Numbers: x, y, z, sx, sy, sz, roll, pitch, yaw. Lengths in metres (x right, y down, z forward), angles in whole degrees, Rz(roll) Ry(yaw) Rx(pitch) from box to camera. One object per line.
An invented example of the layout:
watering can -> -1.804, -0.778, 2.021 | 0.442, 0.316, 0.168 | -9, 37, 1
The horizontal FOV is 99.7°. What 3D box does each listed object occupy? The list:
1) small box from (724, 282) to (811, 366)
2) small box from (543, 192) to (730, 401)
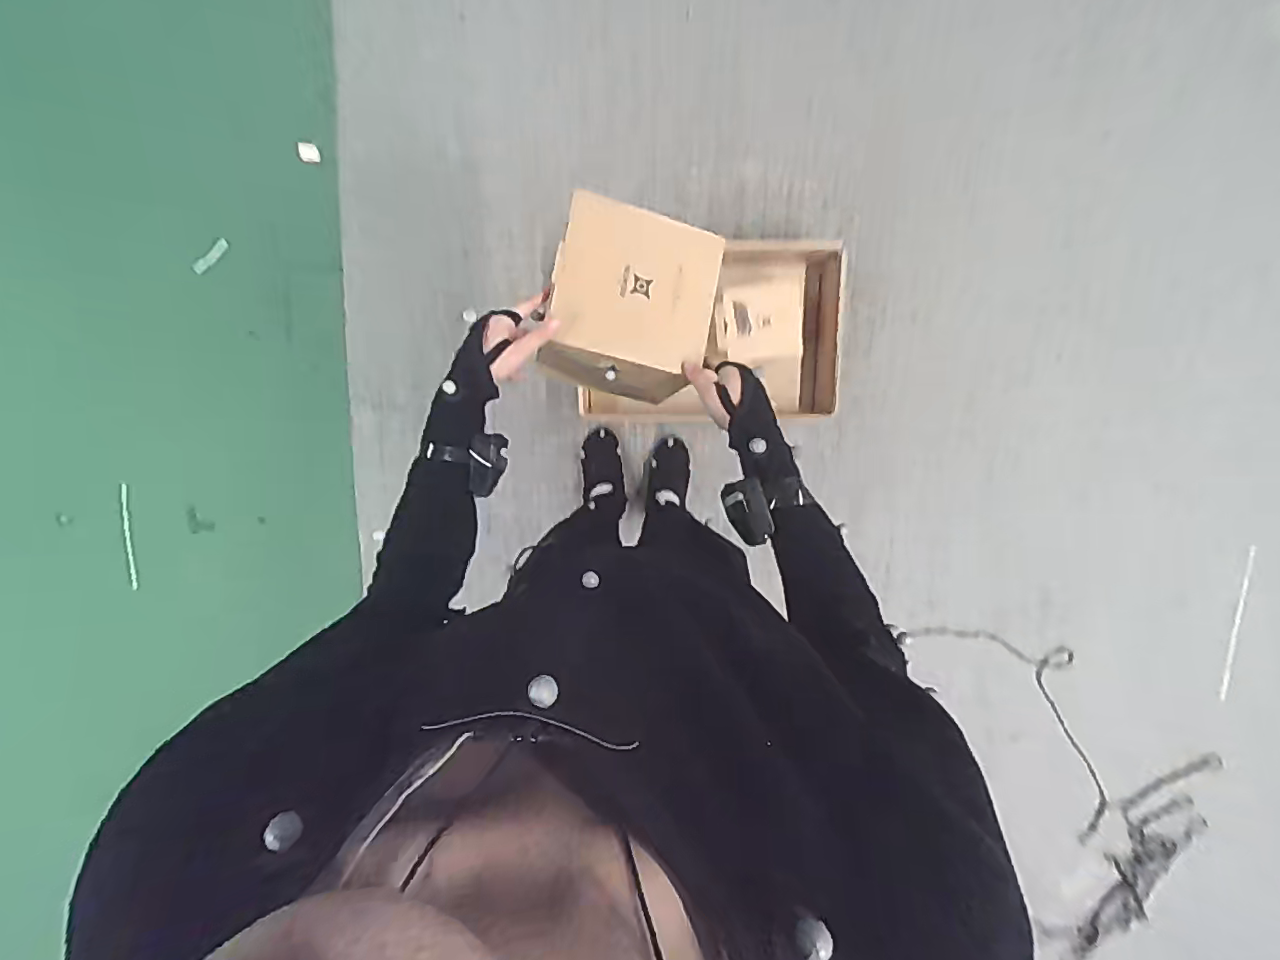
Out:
small box -> 0.298, -0.366, 1.298 | 0.179, 0.176, 0.168 | -6, 100, 3
small box -> -0.015, -0.202, 0.651 | 0.179, 0.176, 0.168 | 12, 86, -12
